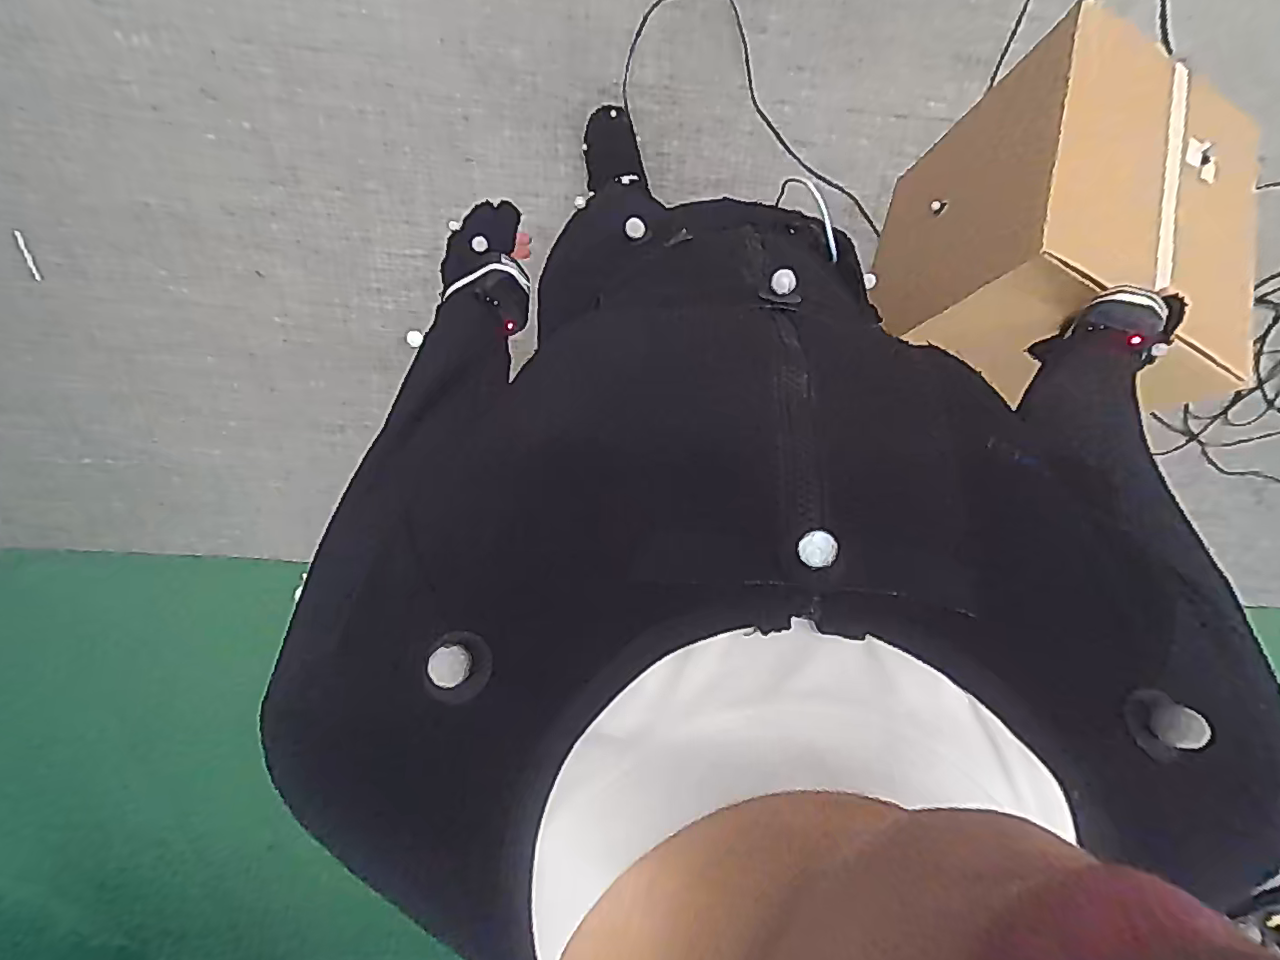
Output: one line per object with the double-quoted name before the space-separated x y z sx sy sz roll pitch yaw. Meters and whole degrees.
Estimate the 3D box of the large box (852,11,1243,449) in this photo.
"large box" 0.559 -0.310 0.773 0.320 0.320 0.408 24 72 -12
